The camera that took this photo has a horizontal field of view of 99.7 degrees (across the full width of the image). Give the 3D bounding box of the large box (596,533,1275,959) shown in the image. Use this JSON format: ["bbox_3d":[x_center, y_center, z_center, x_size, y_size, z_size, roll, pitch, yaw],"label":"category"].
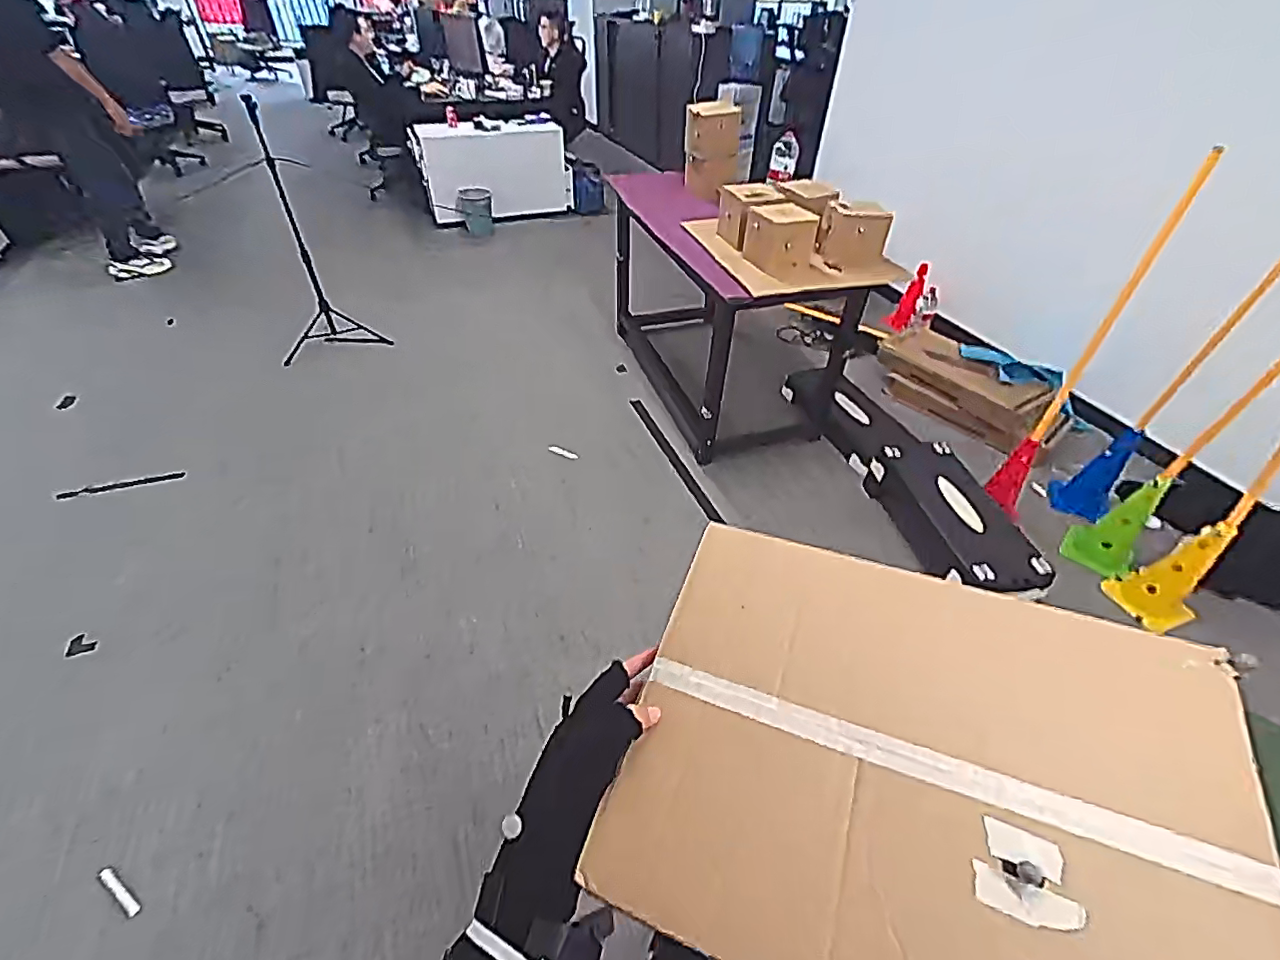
[{"bbox_3d":[0.221,0.300,0.517,0.408,0.320,0.320,14,55,20],"label":"large box"}]
